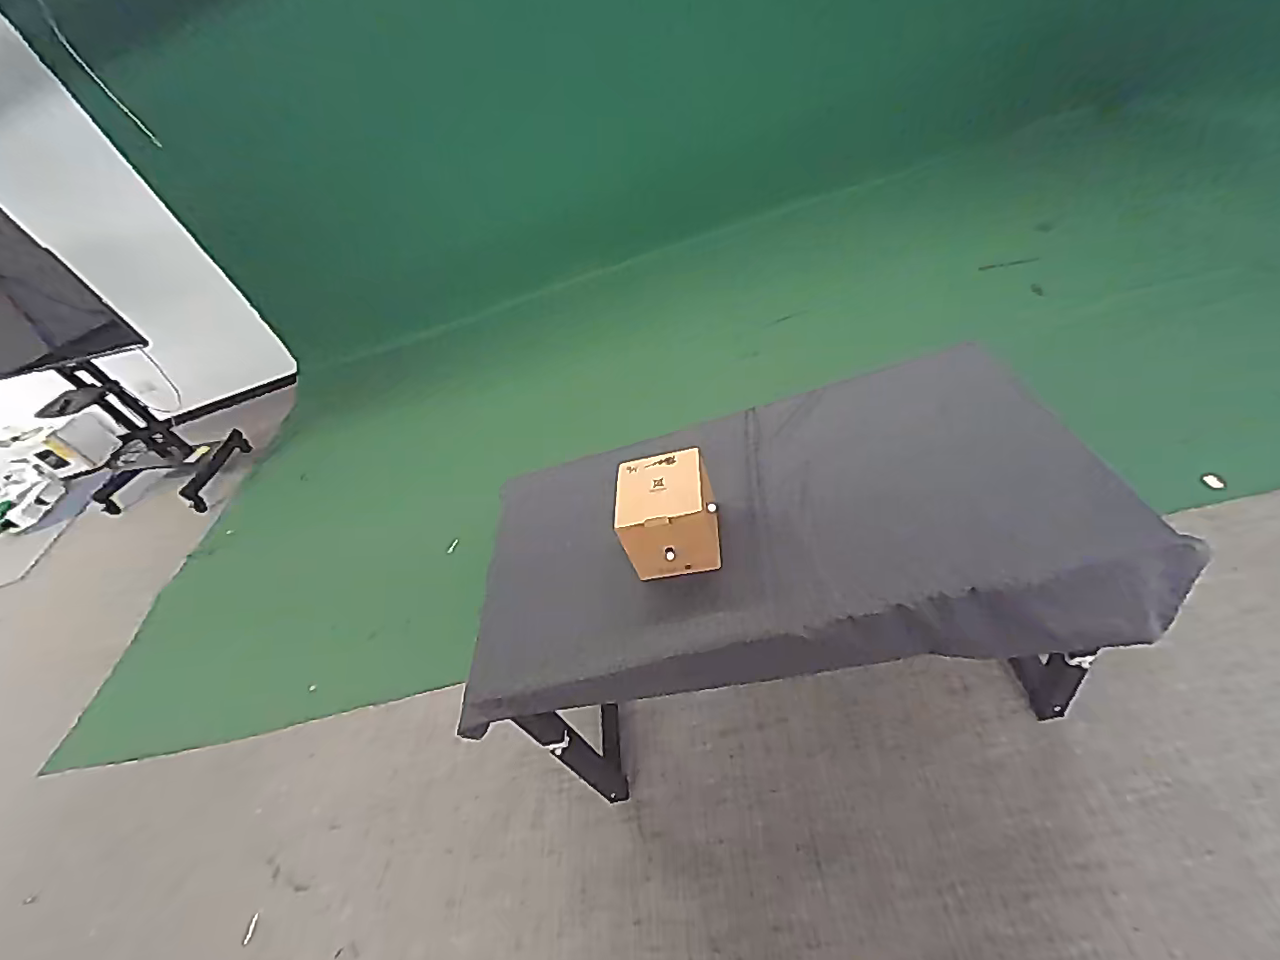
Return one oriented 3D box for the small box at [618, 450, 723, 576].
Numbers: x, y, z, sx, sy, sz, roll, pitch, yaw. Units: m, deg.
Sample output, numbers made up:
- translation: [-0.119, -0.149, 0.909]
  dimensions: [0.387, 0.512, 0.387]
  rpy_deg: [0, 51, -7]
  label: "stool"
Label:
- translation: [0.062, 0.074, 1.073]
  dimensions: [0.168, 0.176, 0.179]
  rpy_deg: [-14, 42, 12]
  label: "small box"
